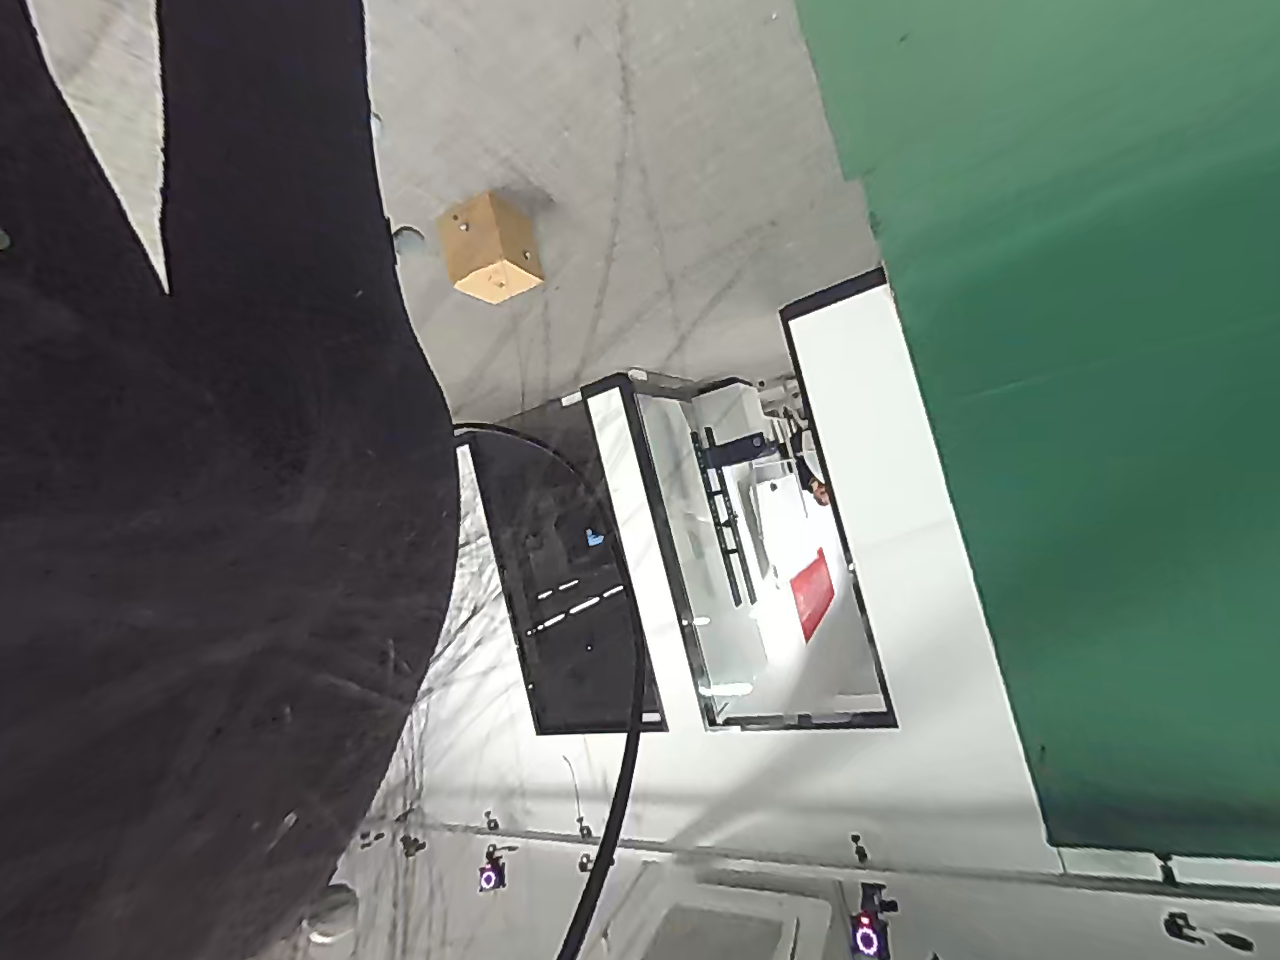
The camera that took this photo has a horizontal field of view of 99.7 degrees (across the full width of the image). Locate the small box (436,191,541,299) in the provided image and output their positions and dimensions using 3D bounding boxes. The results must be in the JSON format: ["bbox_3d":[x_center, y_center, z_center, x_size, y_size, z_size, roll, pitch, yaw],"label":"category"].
[{"bbox_3d":[-0.372,-0.577,1.339,0.168,0.176,0.179,-15,177,21],"label":"small box"}]
